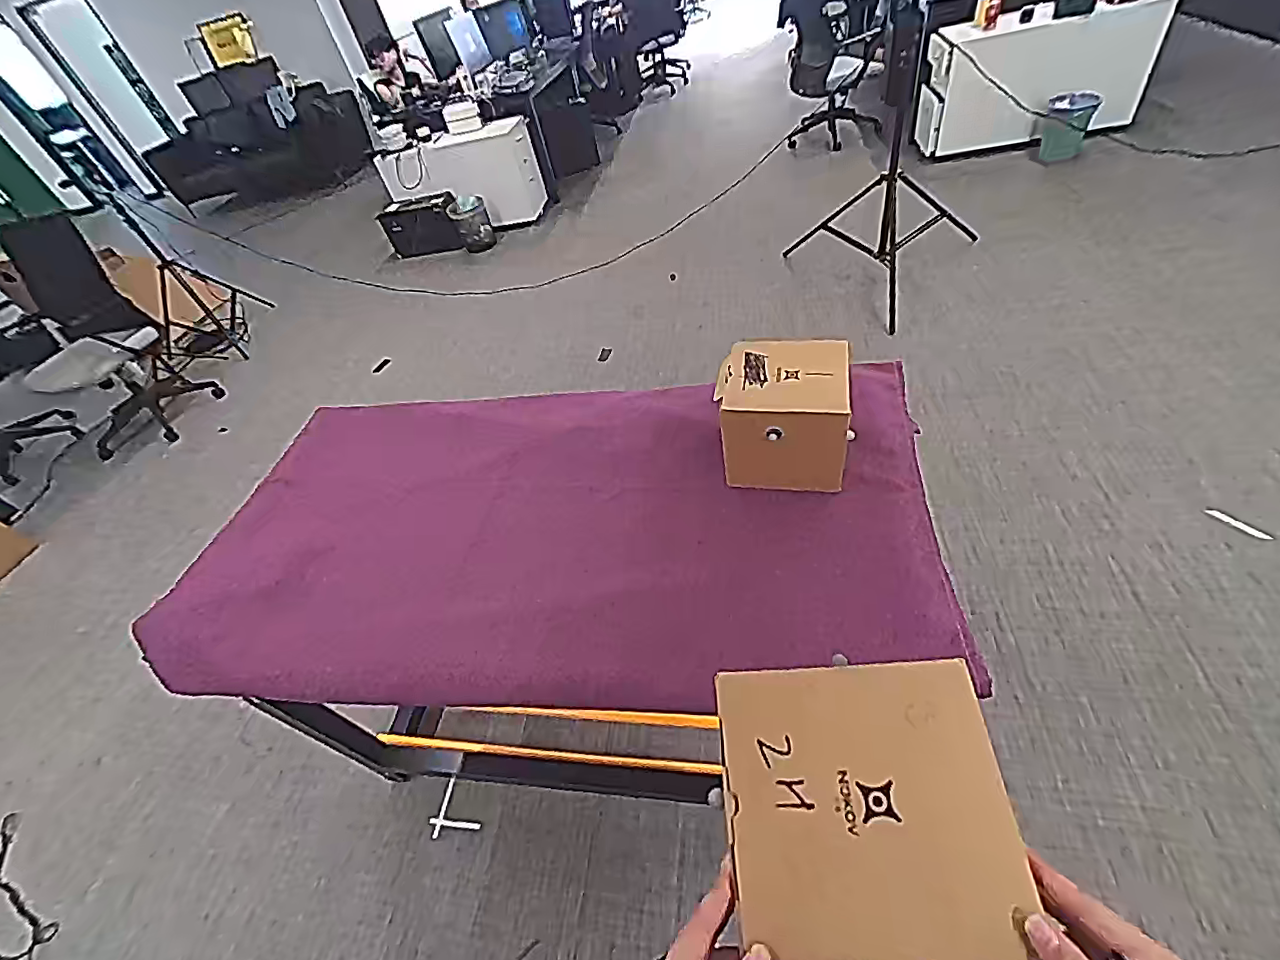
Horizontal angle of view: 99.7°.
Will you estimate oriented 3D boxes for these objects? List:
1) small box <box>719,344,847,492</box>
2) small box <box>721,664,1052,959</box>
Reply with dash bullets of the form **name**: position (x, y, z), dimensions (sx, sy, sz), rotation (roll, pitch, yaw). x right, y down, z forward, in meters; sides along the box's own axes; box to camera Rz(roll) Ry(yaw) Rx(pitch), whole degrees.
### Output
- **small box**: position (0.228, -0.096, 0.853), dimensions (0.179, 0.176, 0.168), rotation (3, 50, 16)
- **small box**: position (0.157, 0.243, 0.418), dimensions (0.179, 0.176, 0.168), rotation (-6, 60, 7)
